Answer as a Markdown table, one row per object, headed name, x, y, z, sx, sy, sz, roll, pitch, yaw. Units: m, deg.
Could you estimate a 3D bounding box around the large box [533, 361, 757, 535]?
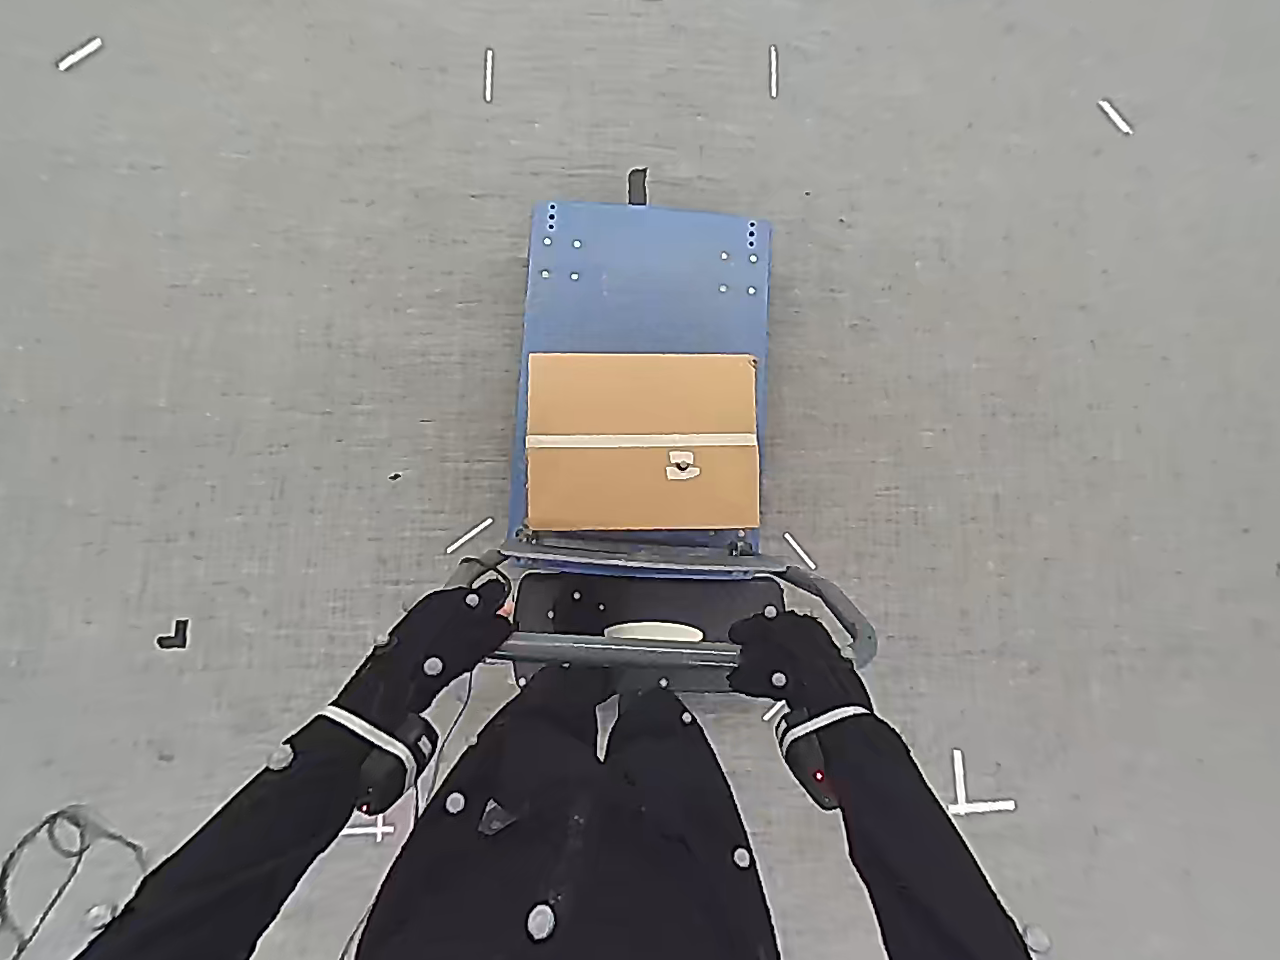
| name | x | y | z | sx | sy | sz | roll | pitch | yaw |
| --- | --- | --- | --- | --- | --- | --- | --- | --- | --- |
| large box | -0.002 | -0.049 | 1.120 | 0.408 | 0.320 | 0.320 | 0 | 86 | -4 |
